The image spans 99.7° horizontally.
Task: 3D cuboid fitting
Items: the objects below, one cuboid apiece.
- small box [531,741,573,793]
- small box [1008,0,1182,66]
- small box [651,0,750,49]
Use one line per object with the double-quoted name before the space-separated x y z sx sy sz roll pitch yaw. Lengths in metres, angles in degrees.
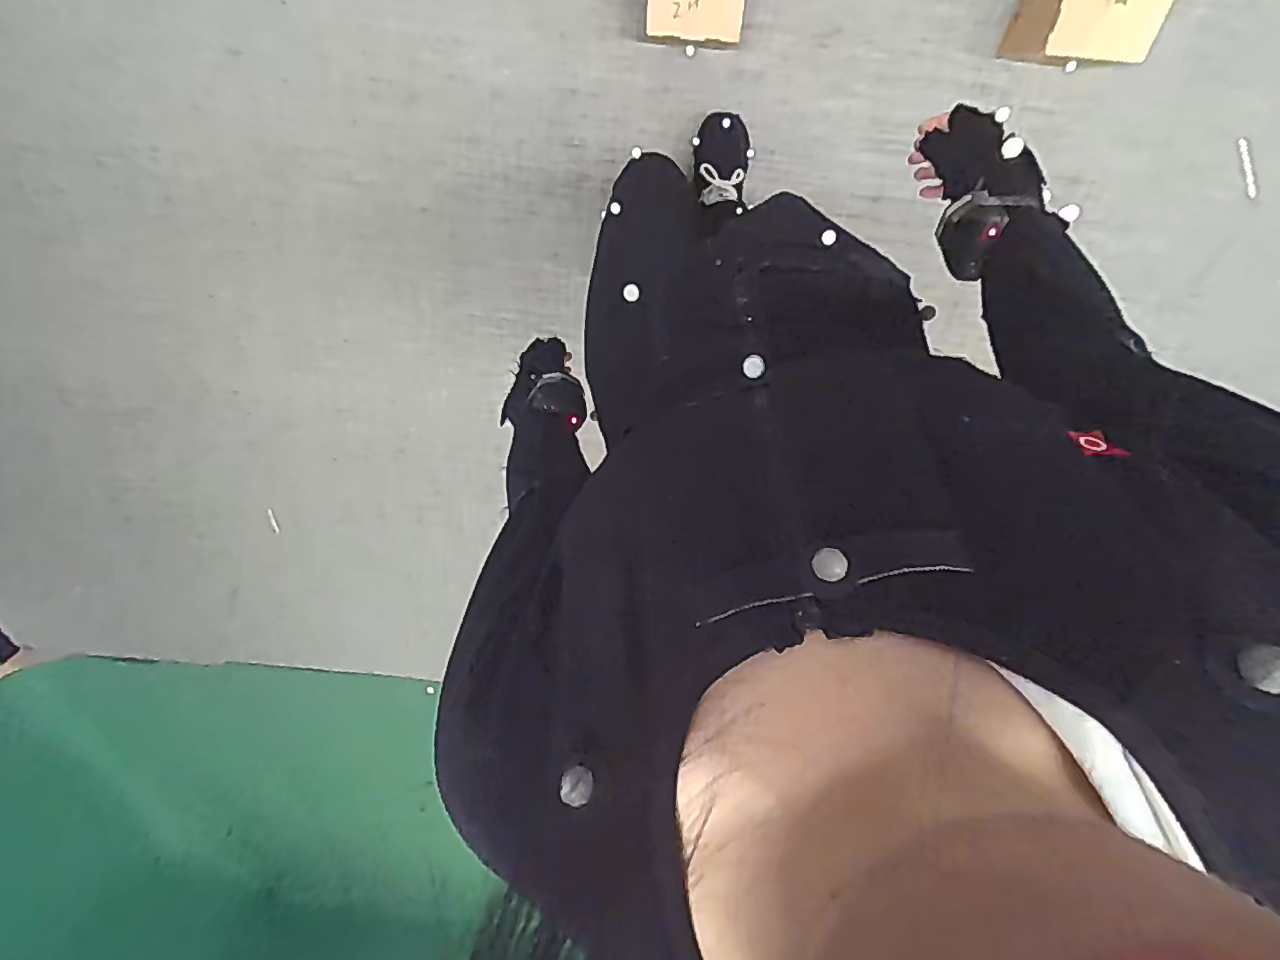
"small box" -0.435 1.410 2.660 0.179 0.176 0.168 7 127 -2
"small box" 0.793 -0.828 0.934 0.179 0.176 0.168 5 127 1
"small box" 0.109 -0.877 0.945 0.168 0.176 0.179 5 127 0
